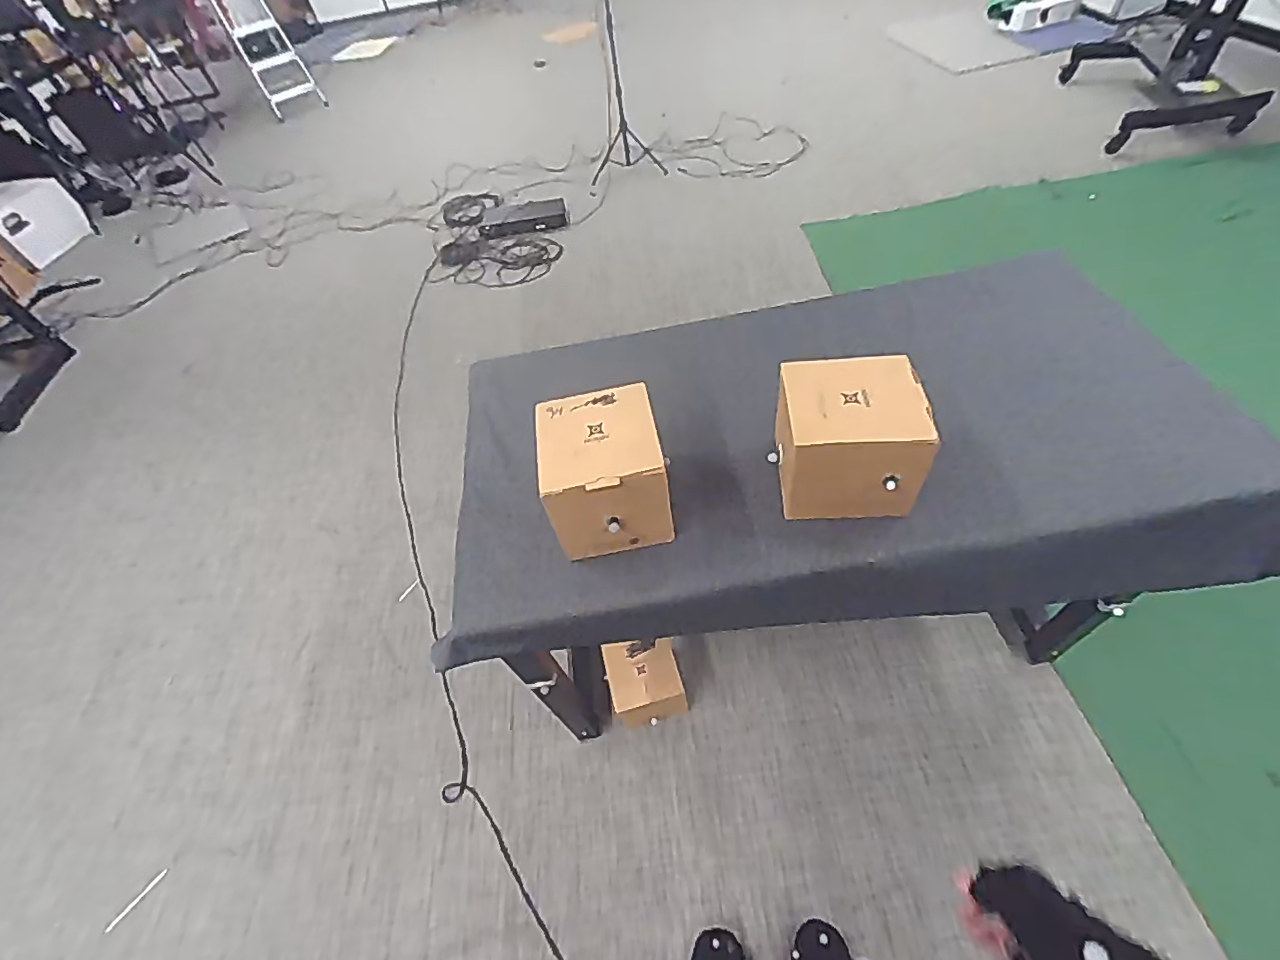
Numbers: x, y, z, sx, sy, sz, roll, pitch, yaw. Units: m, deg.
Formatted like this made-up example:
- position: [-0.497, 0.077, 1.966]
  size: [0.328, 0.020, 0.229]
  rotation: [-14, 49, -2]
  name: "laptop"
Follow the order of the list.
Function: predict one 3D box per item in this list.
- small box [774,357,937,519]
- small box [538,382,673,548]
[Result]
- position: [0.296, -0.057, 0.787]
  size: [0.179, 0.176, 0.168]
  rotation: [-3, 50, 8]
  name: "small box"
- position: [-0.048, -0.014, 0.802]
  size: [0.168, 0.176, 0.179]
  rotation: [-11, 51, 0]
  name: "small box"
